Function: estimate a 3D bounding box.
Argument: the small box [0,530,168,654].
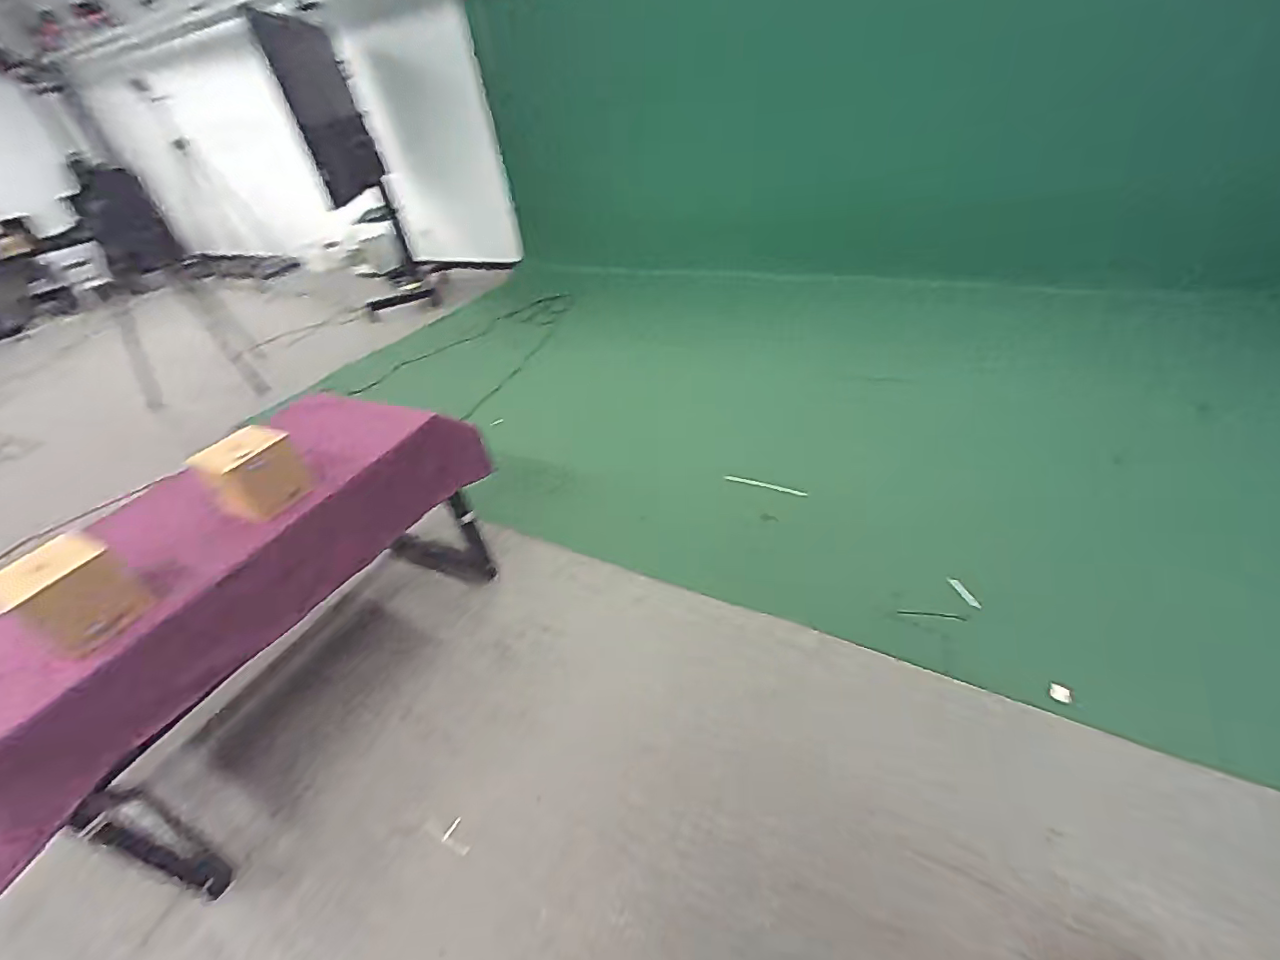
[{"bbox_3d":[-1.159,0.234,1.131,0.179,0.176,0.168,13,44,26],"label":"small box"}]

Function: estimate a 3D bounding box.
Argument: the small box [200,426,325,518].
[{"bbox_3d":[-0.977,-0.020,1.411,0.179,0.176,0.168,11,44,26],"label":"small box"}]
